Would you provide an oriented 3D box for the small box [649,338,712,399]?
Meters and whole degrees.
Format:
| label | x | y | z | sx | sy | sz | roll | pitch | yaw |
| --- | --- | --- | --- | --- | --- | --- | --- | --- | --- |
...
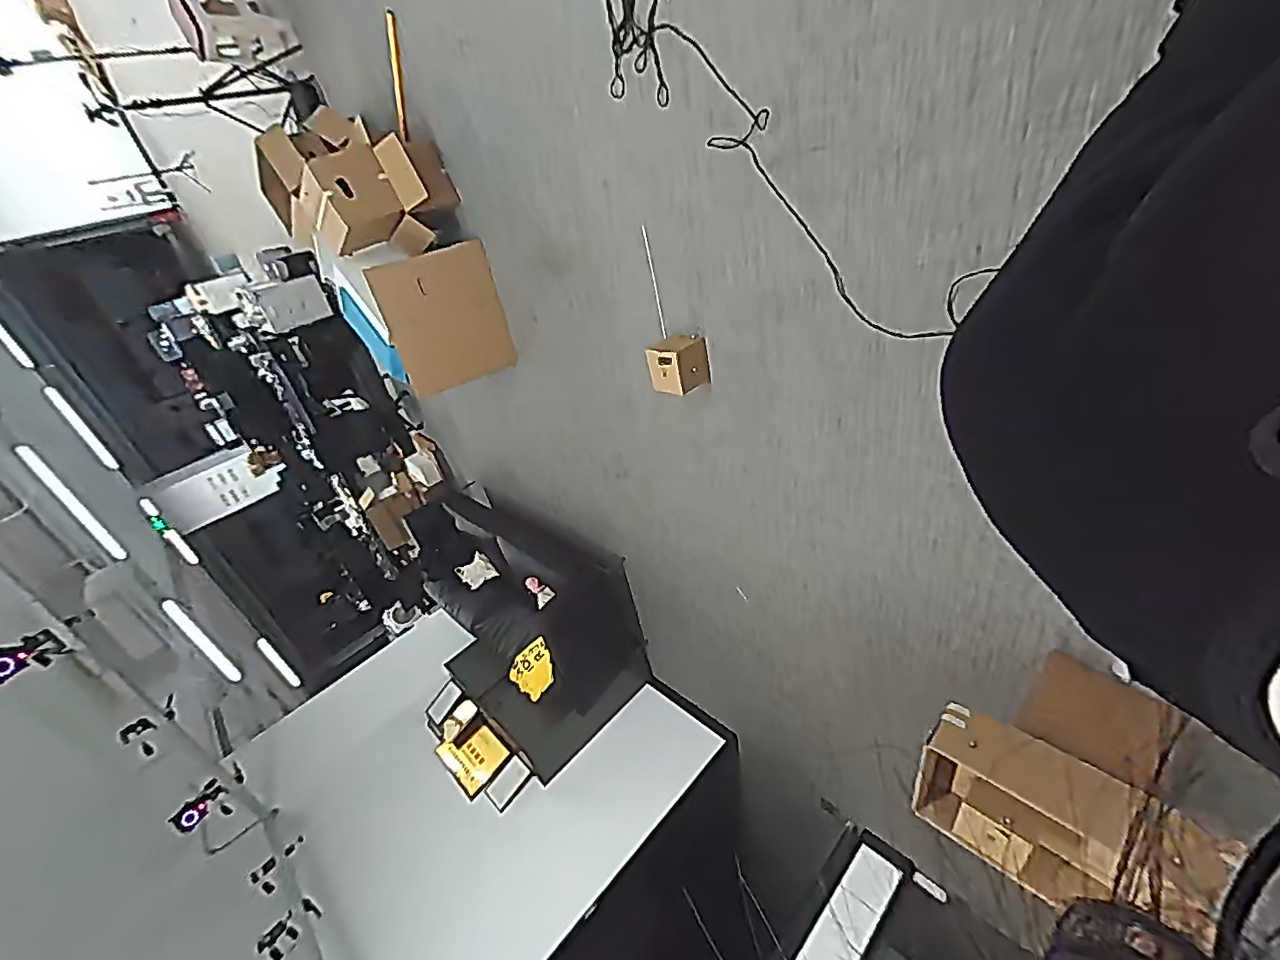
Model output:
| label | x | y | z | sx | sy | sz | roll | pitch | yaw |
| --- | --- | --- | --- | --- | --- | --- | --- | --- | --- |
| small box | 0.163 | -0.441 | 2.115 | 0.168 | 0.176 | 0.179 | 21 | 136 | 44 |

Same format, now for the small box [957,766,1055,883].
| label | x | y | z | sx | sy | sz | roll | pitch | yaw |
| --- | --- | --- | --- | --- | --- | --- | --- | --- | --- |
| small box | 0.990 | 0.926 | 1.463 | 0.168 | 0.176 | 0.179 | 22 | 137 | 40 |
